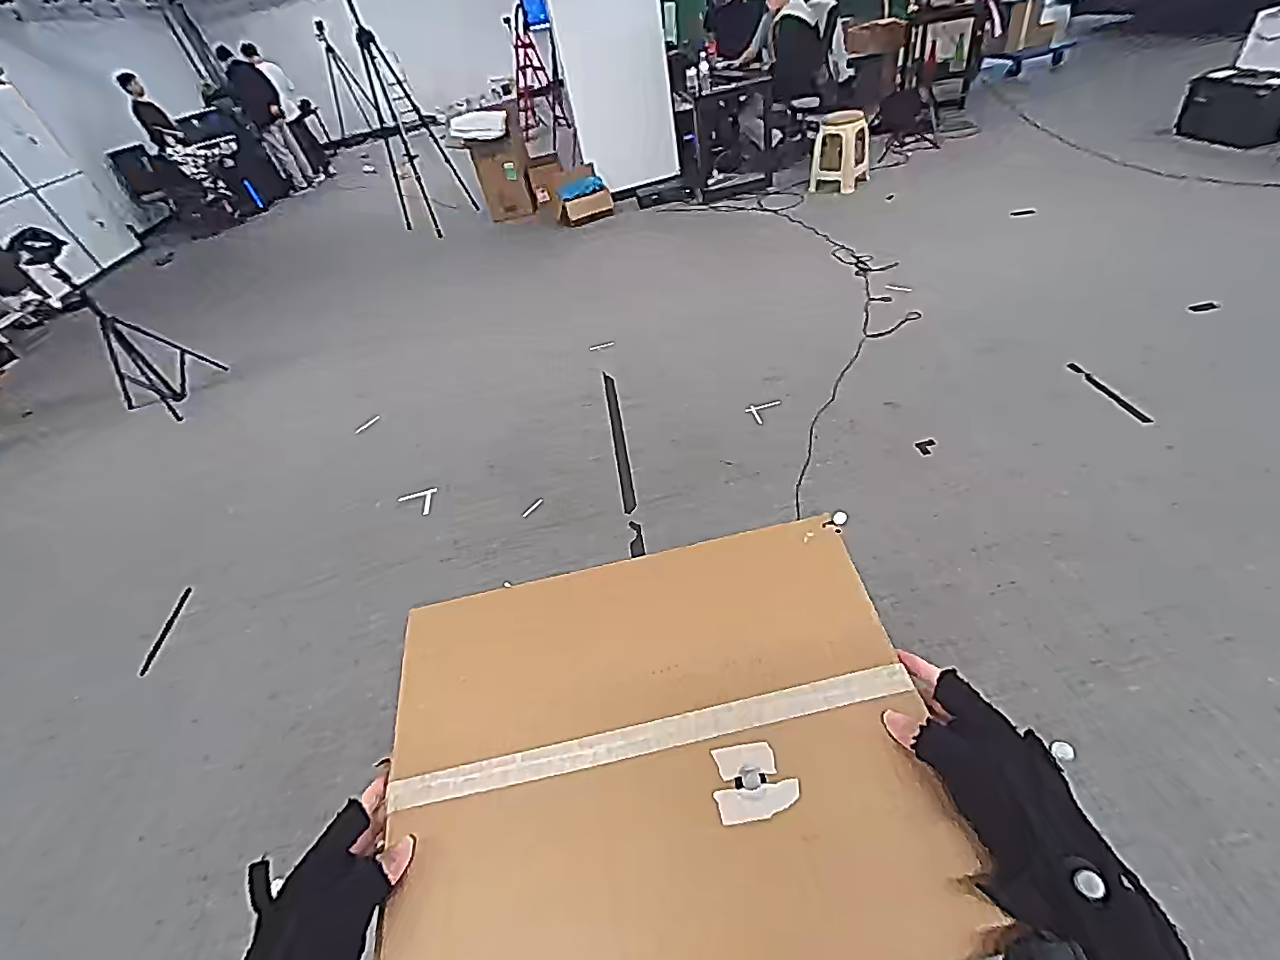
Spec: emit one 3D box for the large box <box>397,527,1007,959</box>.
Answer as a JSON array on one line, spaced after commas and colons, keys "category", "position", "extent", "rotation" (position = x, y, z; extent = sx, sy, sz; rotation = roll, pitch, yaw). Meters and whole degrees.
[{"category": "large box", "position": [0.032, 0.297, 0.542], "extent": [0.408, 0.320, 0.320], "rotation": [-13, 51, 0]}]
